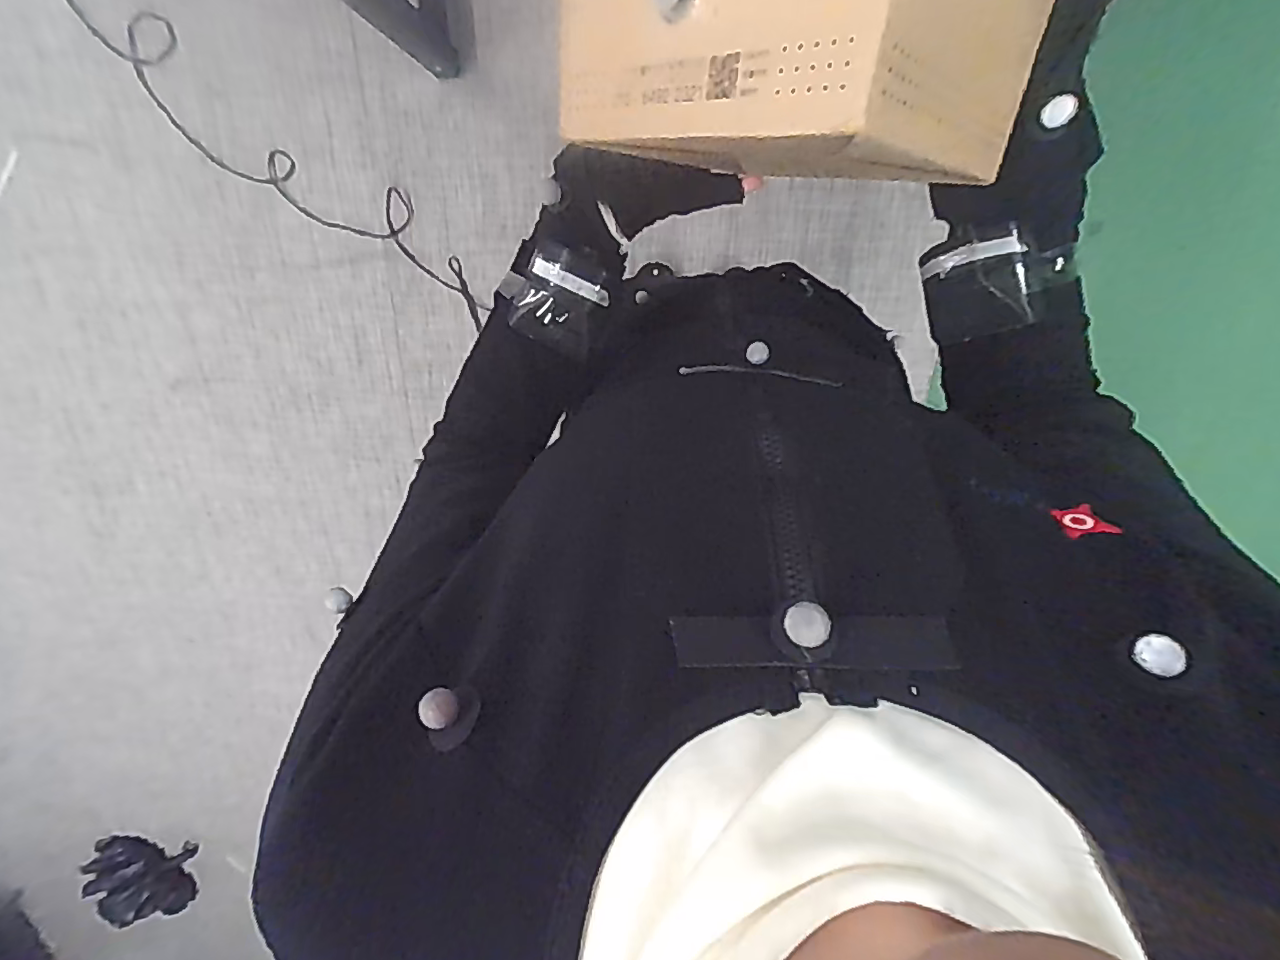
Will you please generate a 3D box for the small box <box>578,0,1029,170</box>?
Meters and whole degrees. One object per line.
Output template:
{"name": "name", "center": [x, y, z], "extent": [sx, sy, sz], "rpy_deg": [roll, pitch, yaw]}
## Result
{"name": "small box", "center": [0.082, -0.254, 0.263], "extent": [0.168, 0.179, 0.176], "rpy_deg": [27, 124, 38]}
